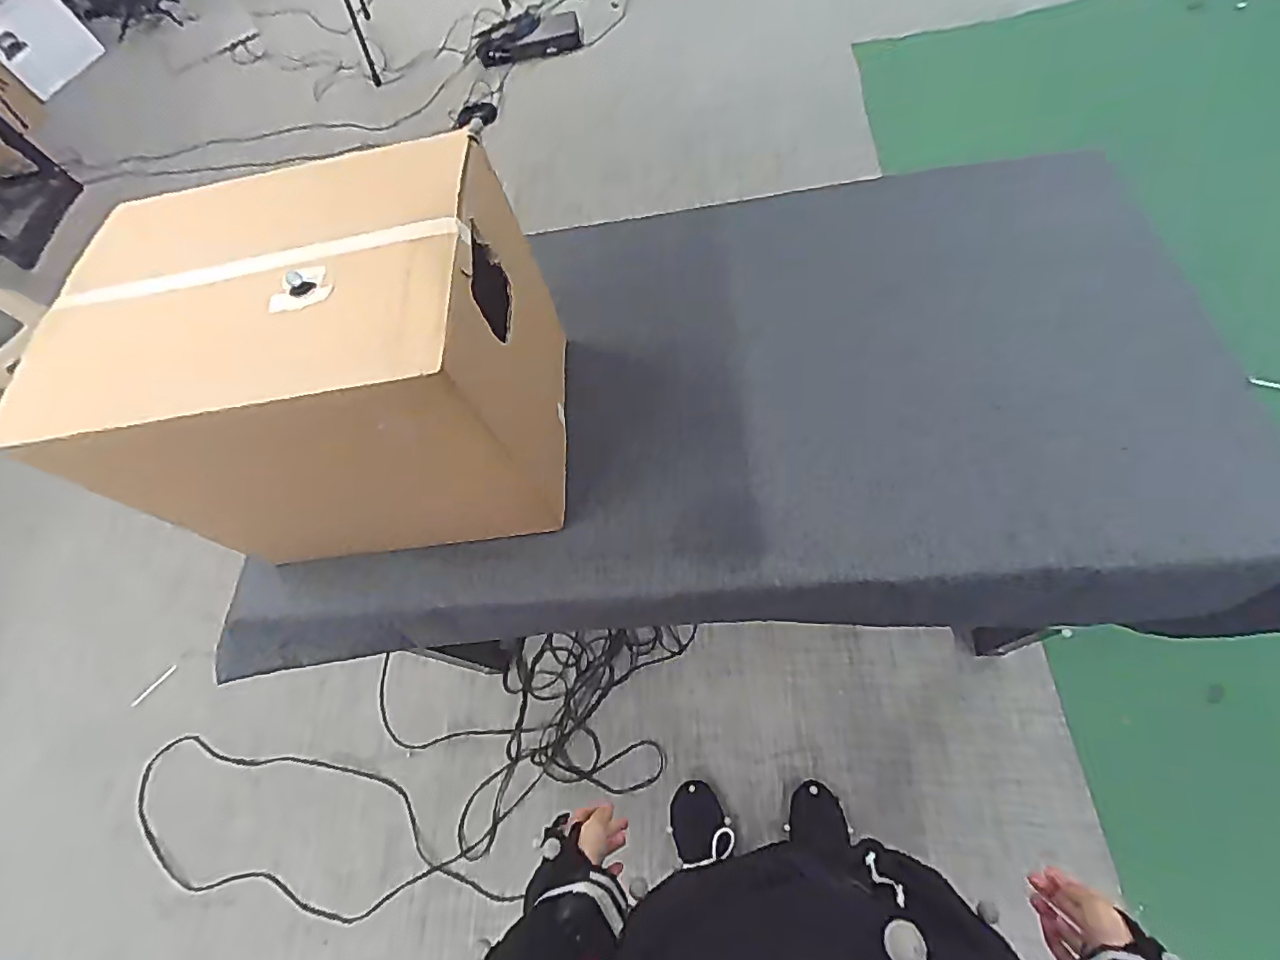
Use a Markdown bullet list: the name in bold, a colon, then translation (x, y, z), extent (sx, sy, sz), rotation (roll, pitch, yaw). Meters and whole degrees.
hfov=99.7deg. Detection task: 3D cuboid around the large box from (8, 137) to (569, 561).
- **large box**: translation (-0.315, -0.121, 0.626), extent (0.408, 0.320, 0.320), rotation (-7, 62, 5)
